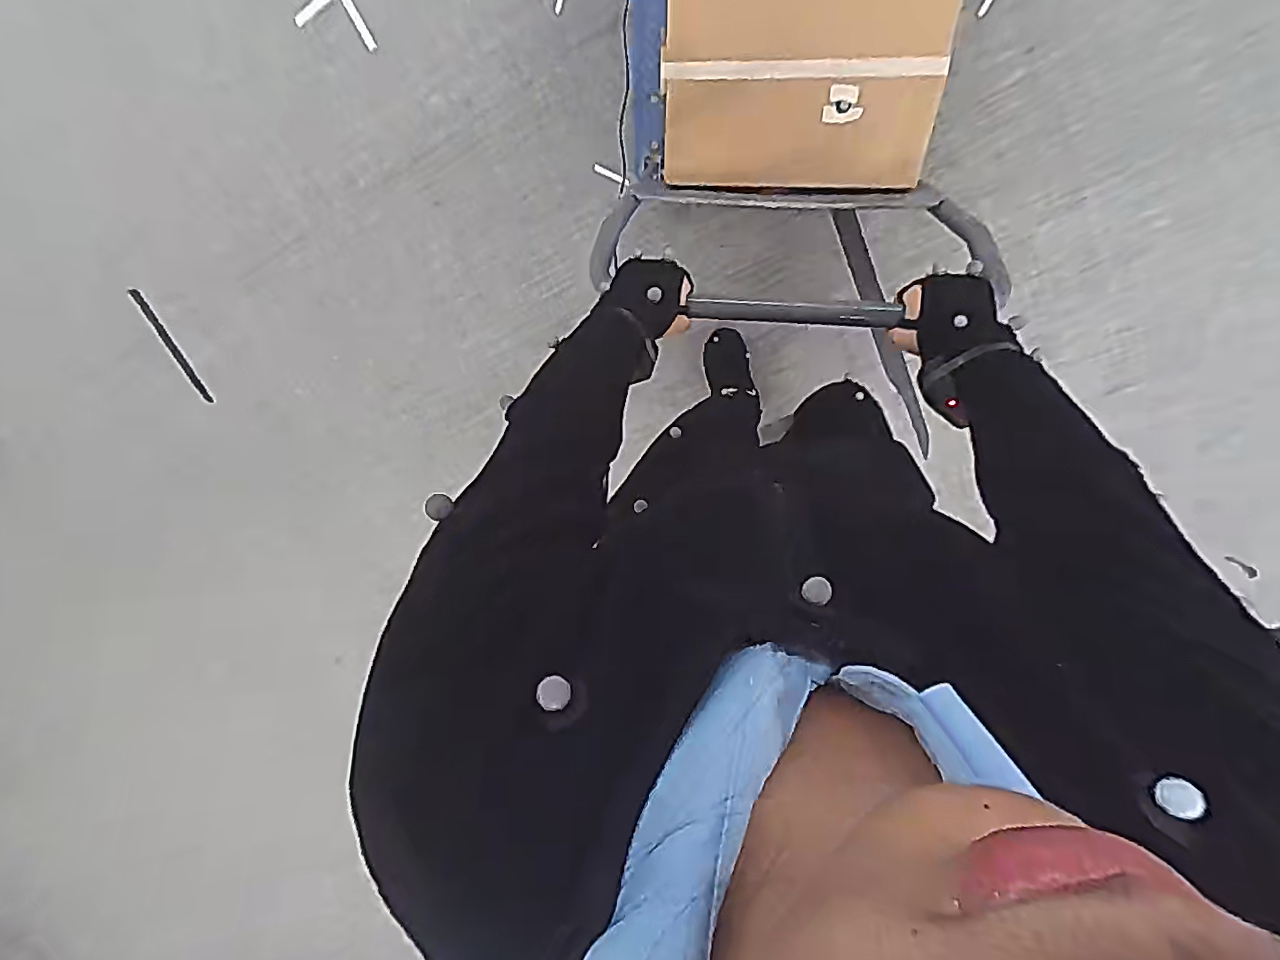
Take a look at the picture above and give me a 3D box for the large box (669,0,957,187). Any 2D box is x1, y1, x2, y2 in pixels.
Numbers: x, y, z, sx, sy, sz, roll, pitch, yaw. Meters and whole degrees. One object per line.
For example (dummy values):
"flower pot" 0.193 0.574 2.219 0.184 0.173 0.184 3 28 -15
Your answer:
"large box" 0.262 -0.699 0.933 0.408 0.320 0.320 4 125 6
